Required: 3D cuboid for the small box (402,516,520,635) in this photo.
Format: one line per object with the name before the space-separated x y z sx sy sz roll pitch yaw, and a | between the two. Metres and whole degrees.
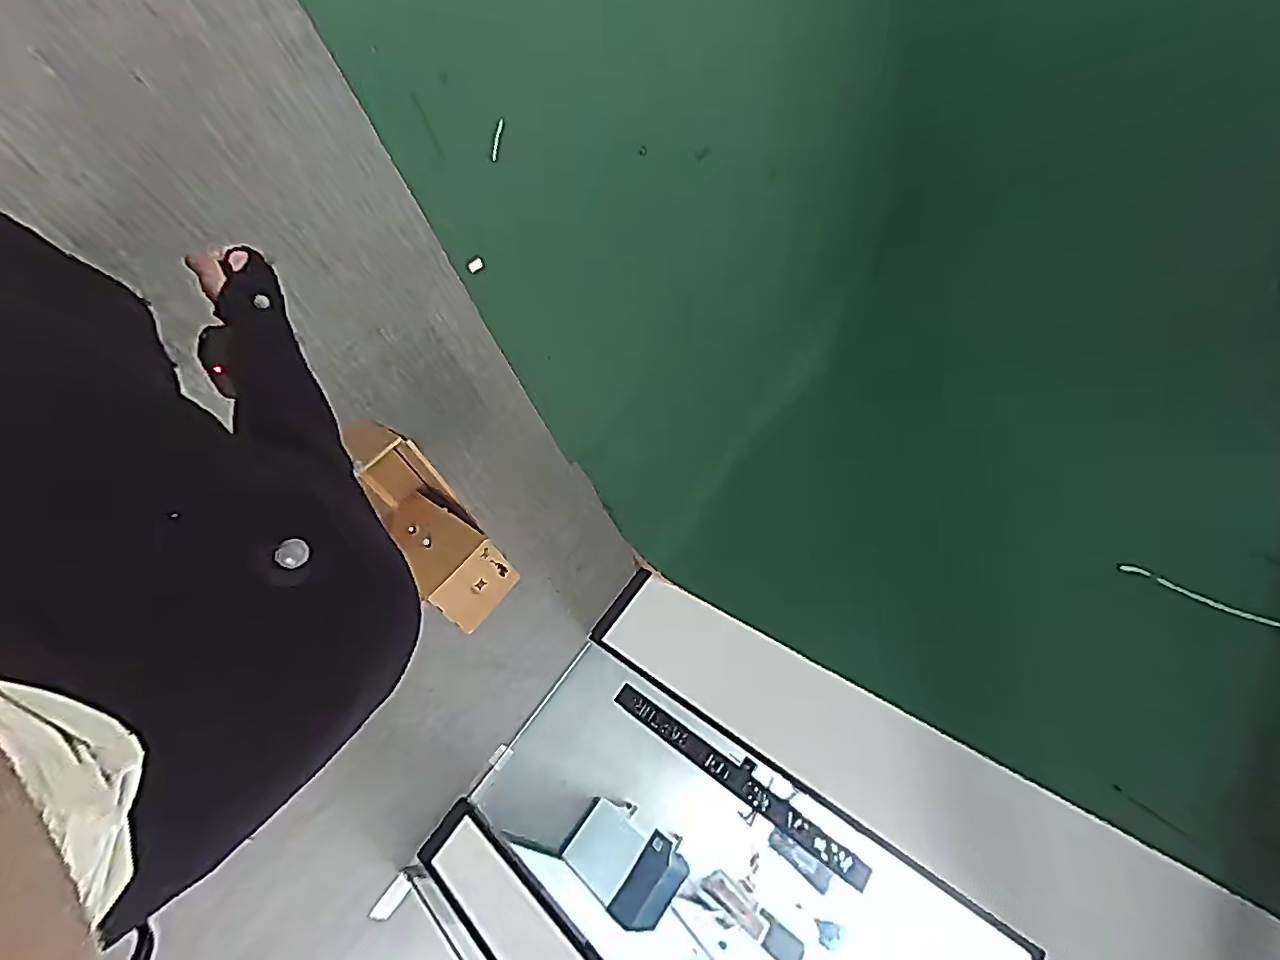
small box | -0.418 0.215 1.246 0.179 0.176 0.168 -48 139 -22
